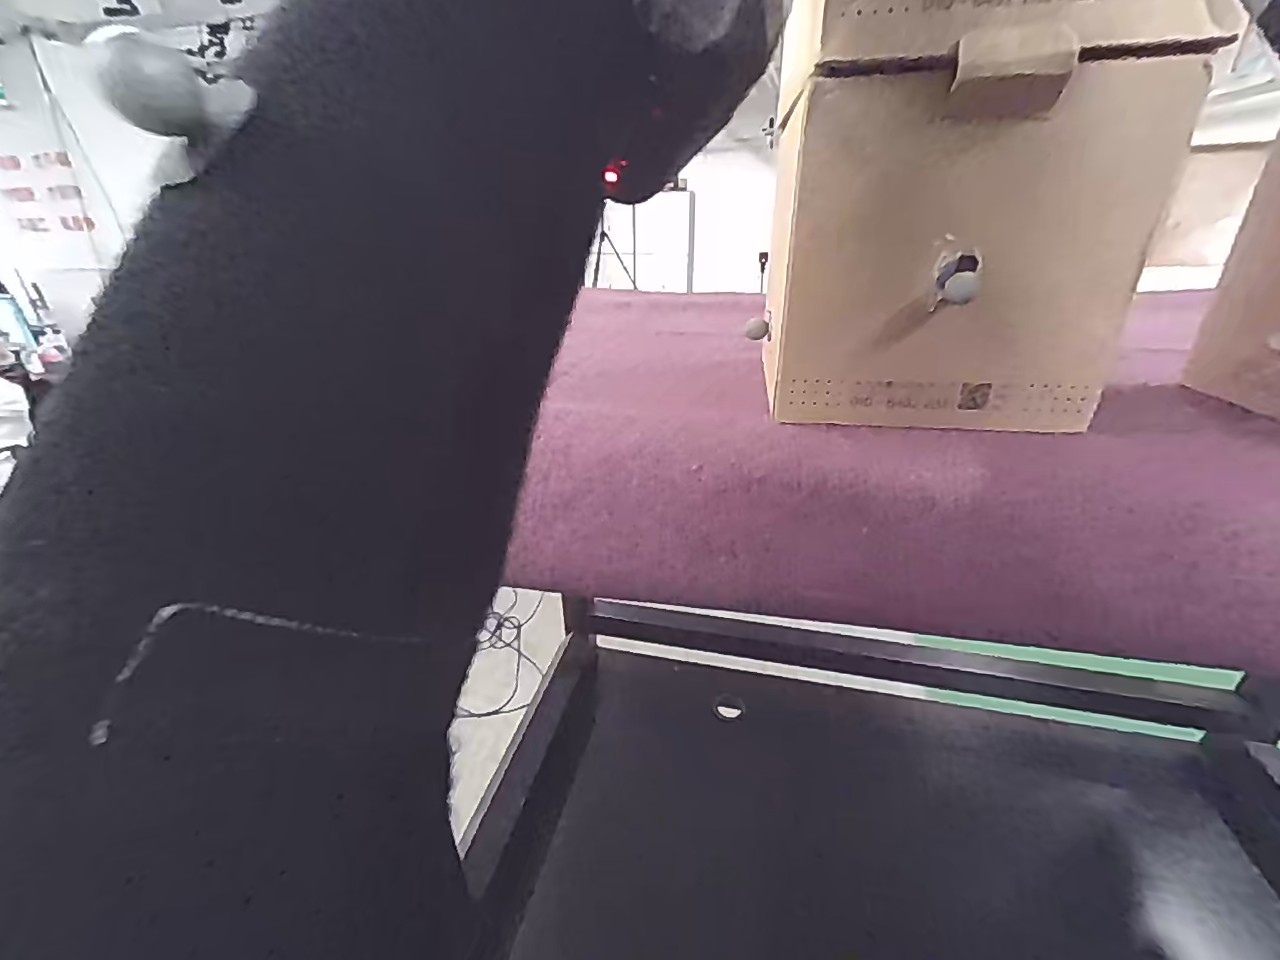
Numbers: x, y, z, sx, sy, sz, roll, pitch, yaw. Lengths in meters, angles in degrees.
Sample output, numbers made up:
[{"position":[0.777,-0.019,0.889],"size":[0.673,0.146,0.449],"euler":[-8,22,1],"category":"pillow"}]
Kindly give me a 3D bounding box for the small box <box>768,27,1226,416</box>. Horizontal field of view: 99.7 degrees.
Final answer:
[{"position":[0.172,-0.144,0.336],"size":[0.168,0.176,0.179],"euler":[4,26,9],"category":"small box"}]

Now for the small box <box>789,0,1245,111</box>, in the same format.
[{"position":[0.170,-0.289,0.261],"size":[0.168,0.176,0.179],"euler":[2,24,7],"category":"small box"}]
